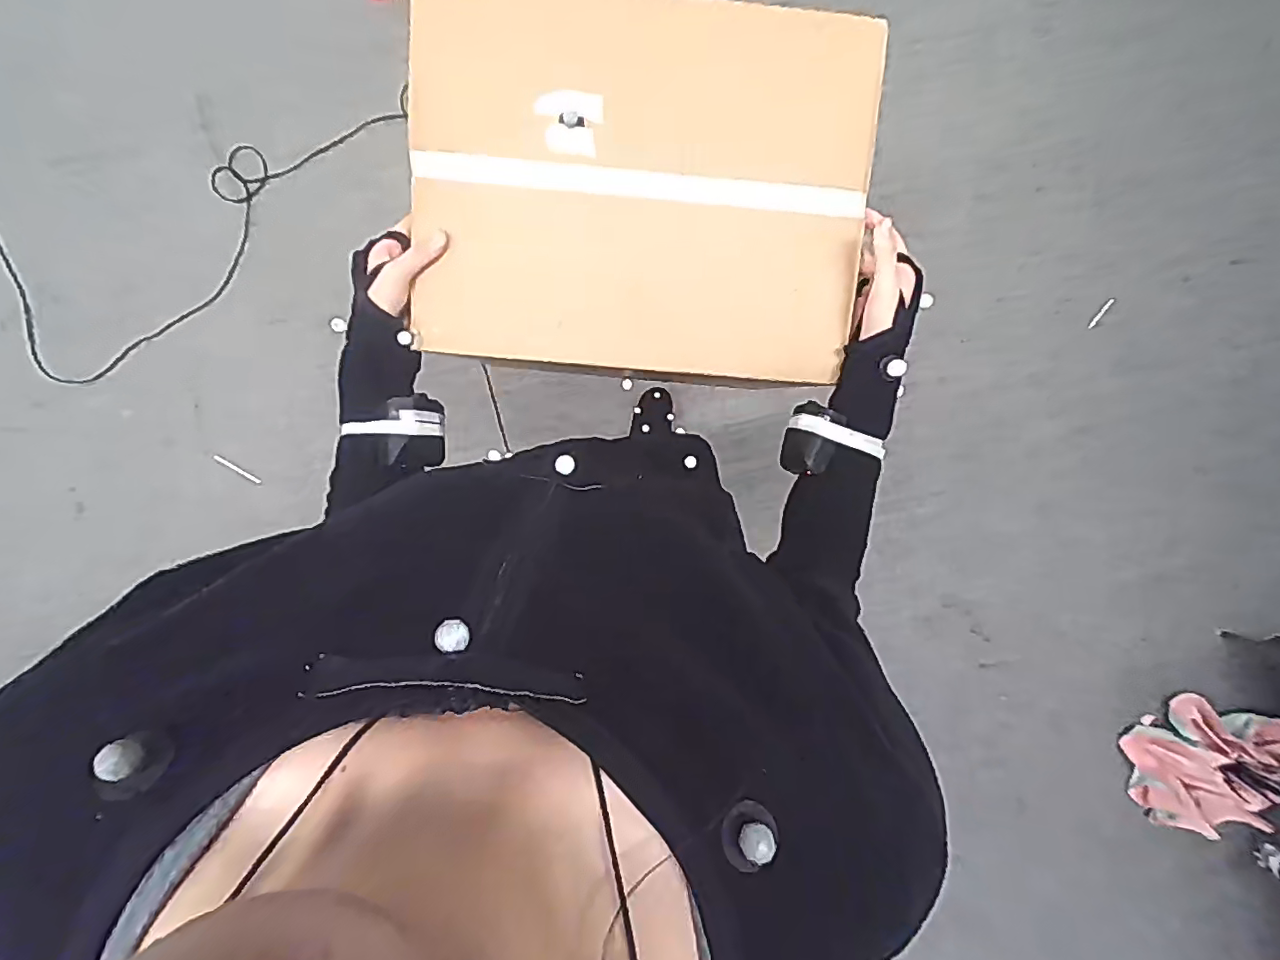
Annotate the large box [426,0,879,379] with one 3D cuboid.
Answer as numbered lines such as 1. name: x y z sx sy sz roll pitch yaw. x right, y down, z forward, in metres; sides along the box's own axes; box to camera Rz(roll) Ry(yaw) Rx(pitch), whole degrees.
1. large box: 0.004 -0.289 0.642 0.408 0.320 0.320 5 99 -2
